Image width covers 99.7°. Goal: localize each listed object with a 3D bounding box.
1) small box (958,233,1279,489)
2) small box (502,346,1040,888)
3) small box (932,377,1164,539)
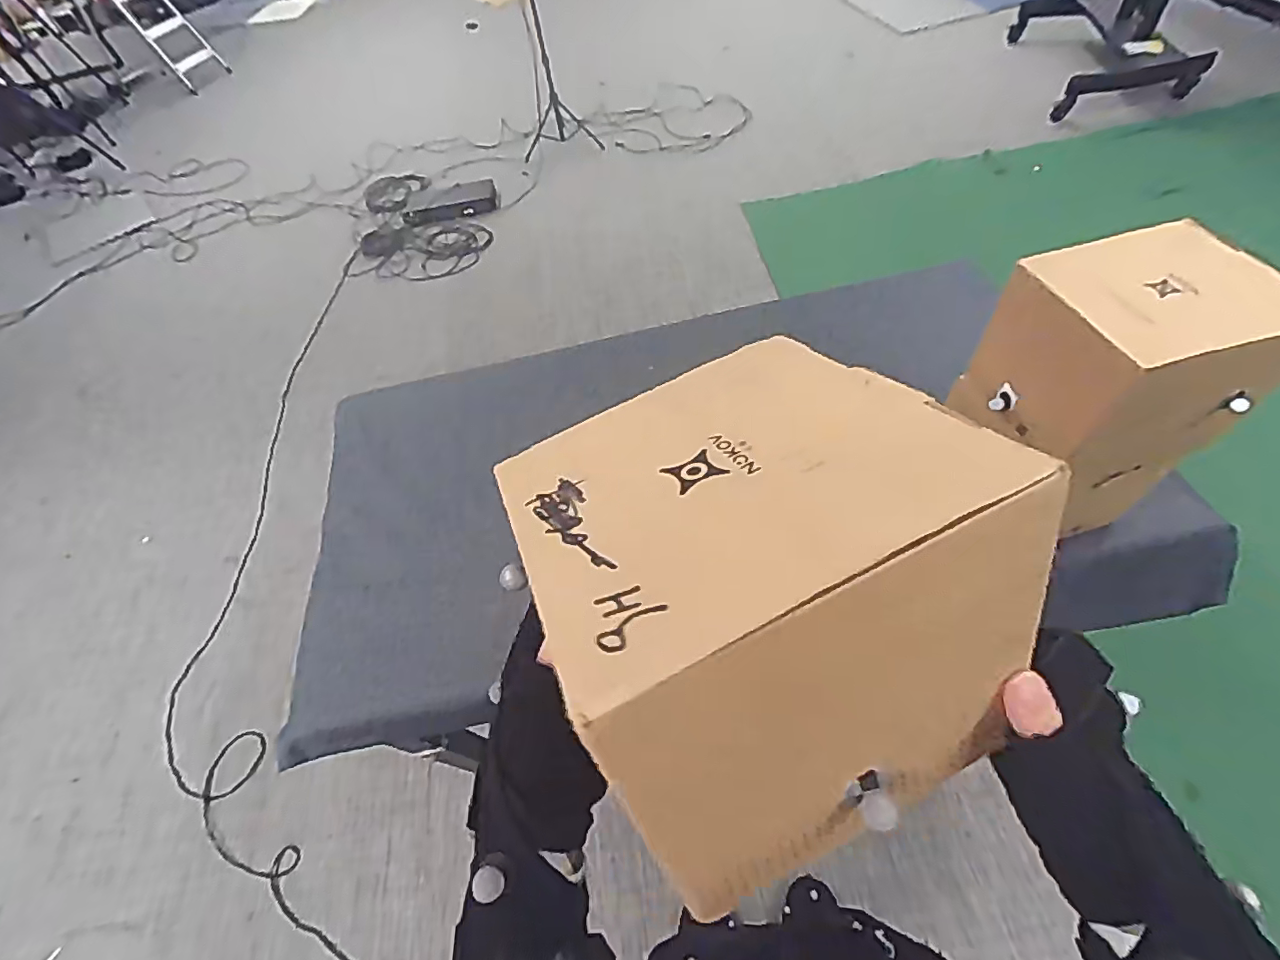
[{"bbox_3d":[0.473,-0.116,0.556,0.179,0.176,0.168,-15,53,0],"label":"small box"},{"bbox_3d":[0.052,0.058,0.280,0.179,0.176,0.168,-24,34,-10],"label":"small box"},{"bbox_3d":[0.492,-0.031,0.692,0.168,0.176,0.179,-16,53,-2],"label":"small box"}]
